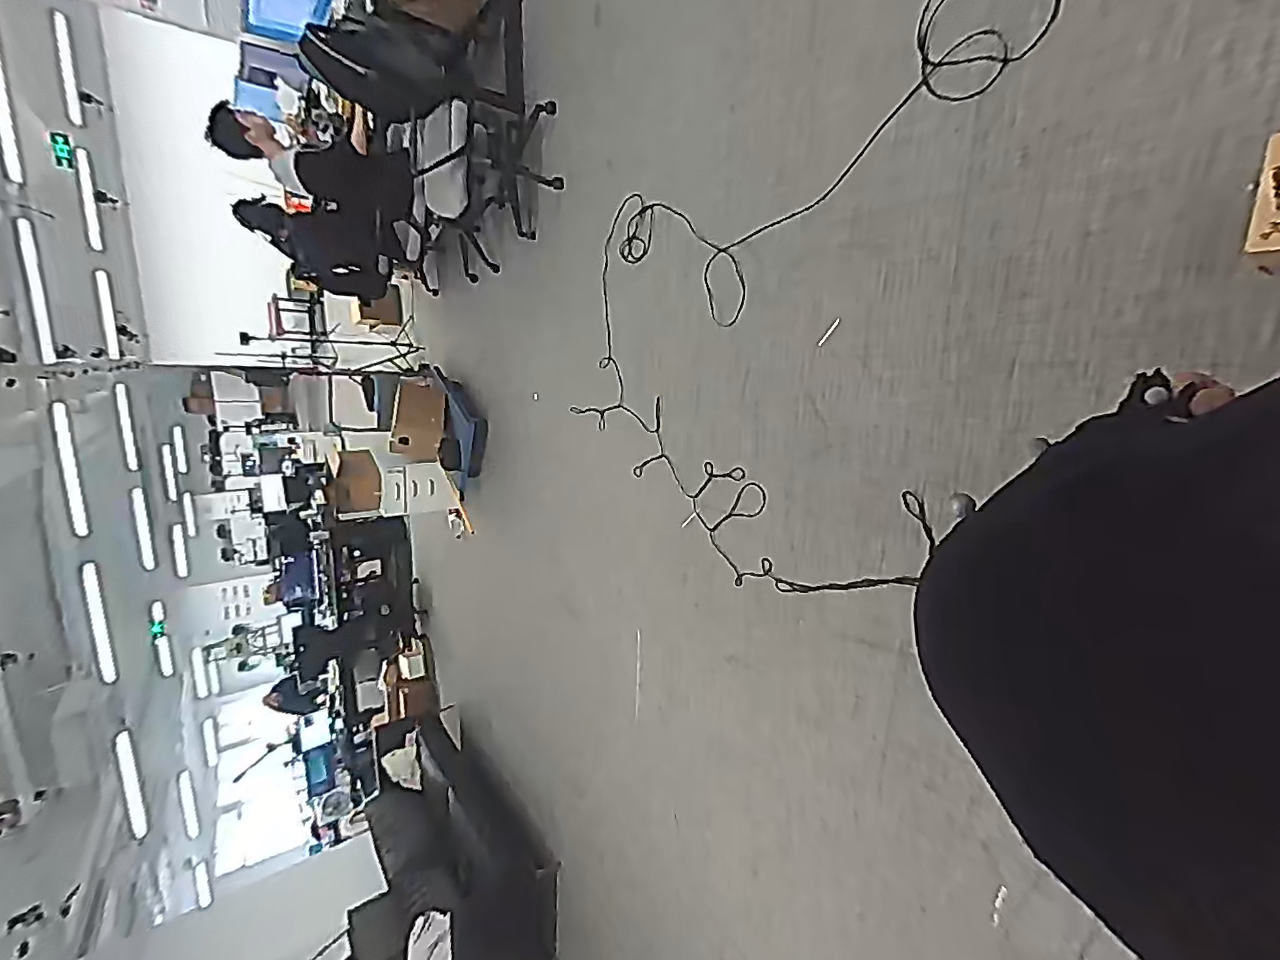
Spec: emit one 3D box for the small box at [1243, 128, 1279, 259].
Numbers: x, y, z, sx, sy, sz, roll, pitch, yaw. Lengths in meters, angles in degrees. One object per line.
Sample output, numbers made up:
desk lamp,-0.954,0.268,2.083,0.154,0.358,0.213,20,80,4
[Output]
small box,1.036,-0.429,0.788,0.179,0.176,0.168,15,109,51
